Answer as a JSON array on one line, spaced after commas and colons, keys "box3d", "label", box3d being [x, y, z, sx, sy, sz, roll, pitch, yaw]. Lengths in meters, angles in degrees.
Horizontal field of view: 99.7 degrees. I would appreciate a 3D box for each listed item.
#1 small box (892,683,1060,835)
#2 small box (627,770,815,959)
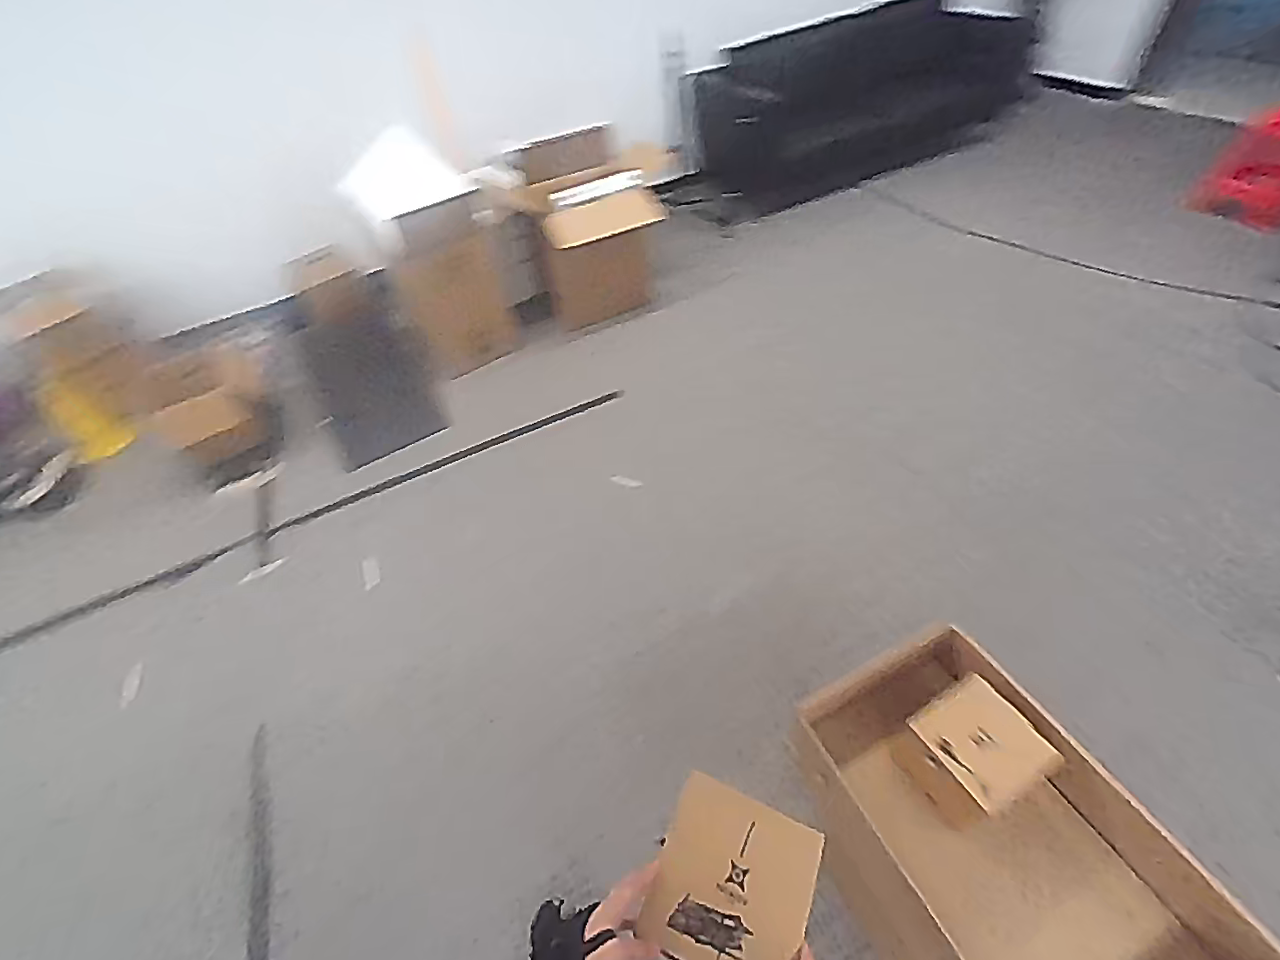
[{"box3d": [0.599, 0.511, 0.990, 0.179, 0.176, 0.168, -24, 49, -15], "label": "small box"}, {"box3d": [0.094, 0.496, 0.663, 0.168, 0.176, 0.179, 21, 54, 13], "label": "small box"}]
